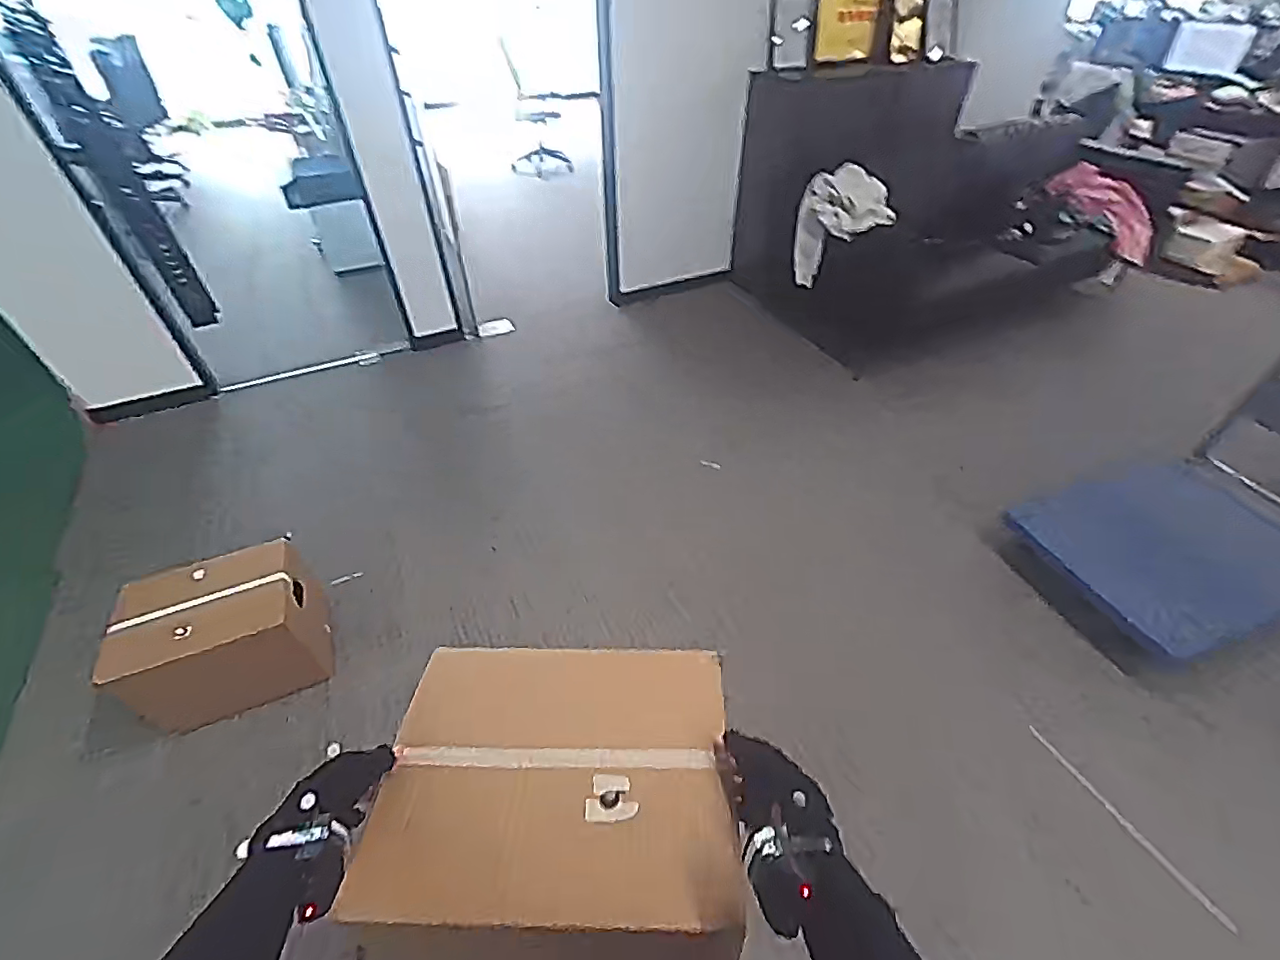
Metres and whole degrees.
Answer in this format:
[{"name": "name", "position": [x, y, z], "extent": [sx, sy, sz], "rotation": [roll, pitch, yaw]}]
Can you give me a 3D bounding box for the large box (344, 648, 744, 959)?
[{"name": "large box", "position": [-0.096, 0.451, 0.734], "extent": [0.408, 0.320, 0.320], "rotation": [1, 36, 1]}]
